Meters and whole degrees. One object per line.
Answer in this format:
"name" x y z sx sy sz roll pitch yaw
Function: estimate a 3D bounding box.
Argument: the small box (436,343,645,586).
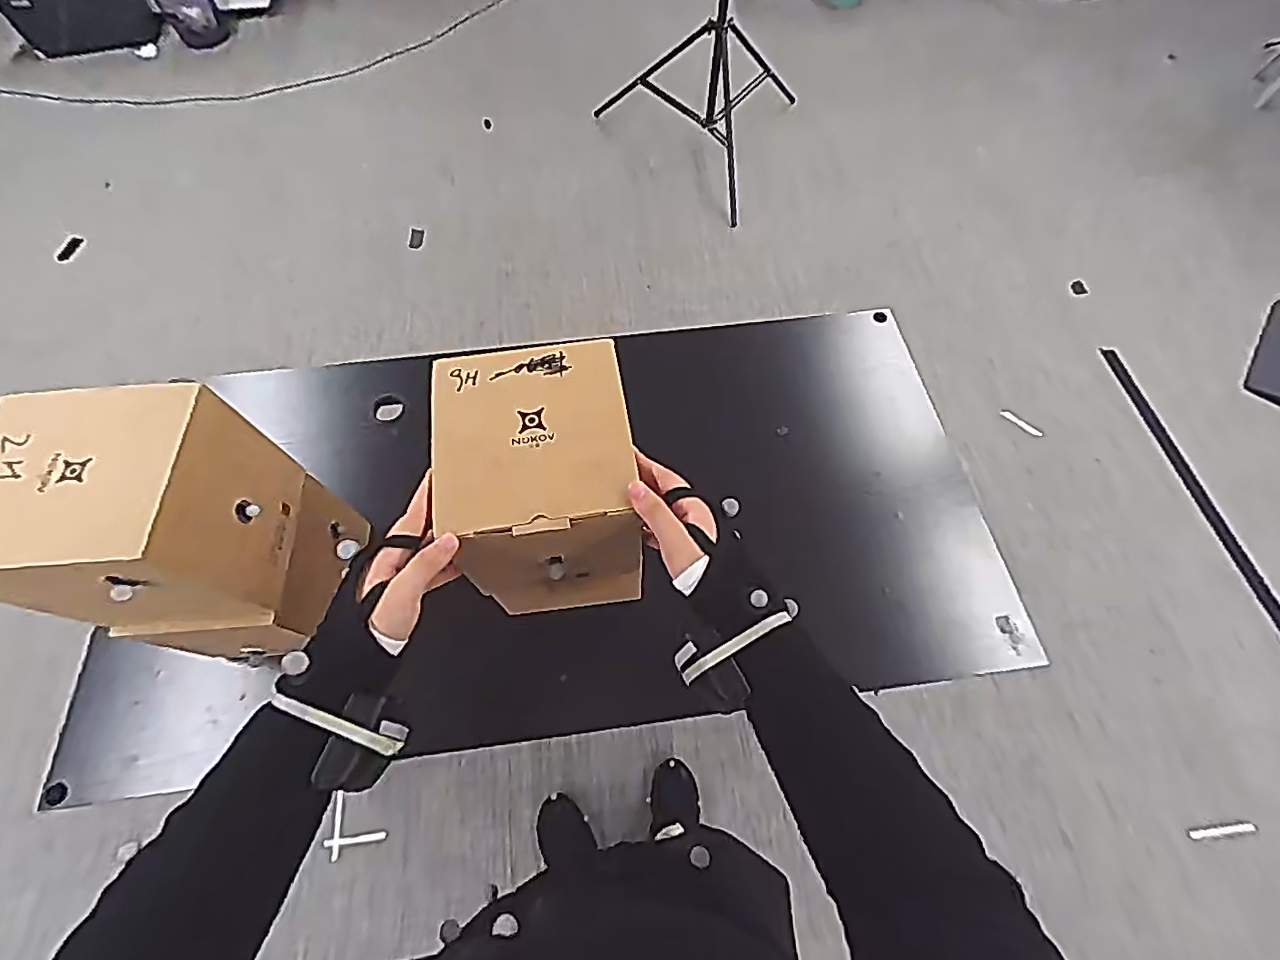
"small box" -0.087 -0.003 0.525 0.168 0.176 0.179 -9 66 -5

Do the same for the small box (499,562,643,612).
"small box" -0.090 0.060 0.677 0.179 0.176 0.168 -6 64 -4

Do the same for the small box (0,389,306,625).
"small box" -0.454 0.034 0.508 0.179 0.176 0.168 -4 63 -1

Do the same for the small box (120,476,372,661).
"small box" -0.448 0.113 0.653 0.168 0.176 0.179 -4 65 -1
